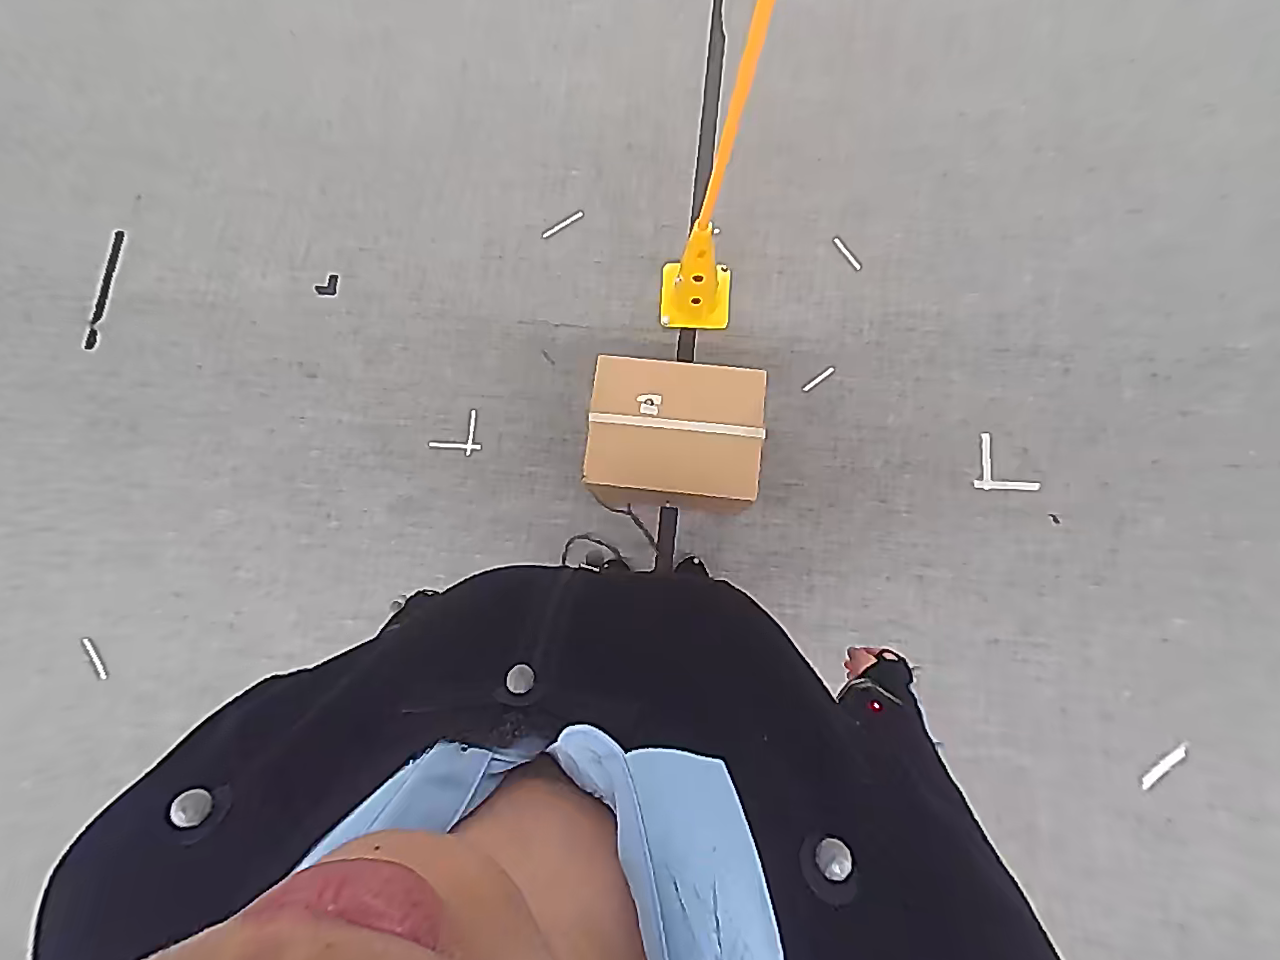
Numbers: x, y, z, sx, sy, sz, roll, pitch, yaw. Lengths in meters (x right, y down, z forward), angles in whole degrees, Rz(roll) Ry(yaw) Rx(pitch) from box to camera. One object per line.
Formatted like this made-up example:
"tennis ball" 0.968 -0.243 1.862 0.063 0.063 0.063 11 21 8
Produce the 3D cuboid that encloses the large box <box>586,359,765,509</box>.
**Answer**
"large box" 0.097 -0.103 1.408 0.408 0.320 0.320 6 80 5
